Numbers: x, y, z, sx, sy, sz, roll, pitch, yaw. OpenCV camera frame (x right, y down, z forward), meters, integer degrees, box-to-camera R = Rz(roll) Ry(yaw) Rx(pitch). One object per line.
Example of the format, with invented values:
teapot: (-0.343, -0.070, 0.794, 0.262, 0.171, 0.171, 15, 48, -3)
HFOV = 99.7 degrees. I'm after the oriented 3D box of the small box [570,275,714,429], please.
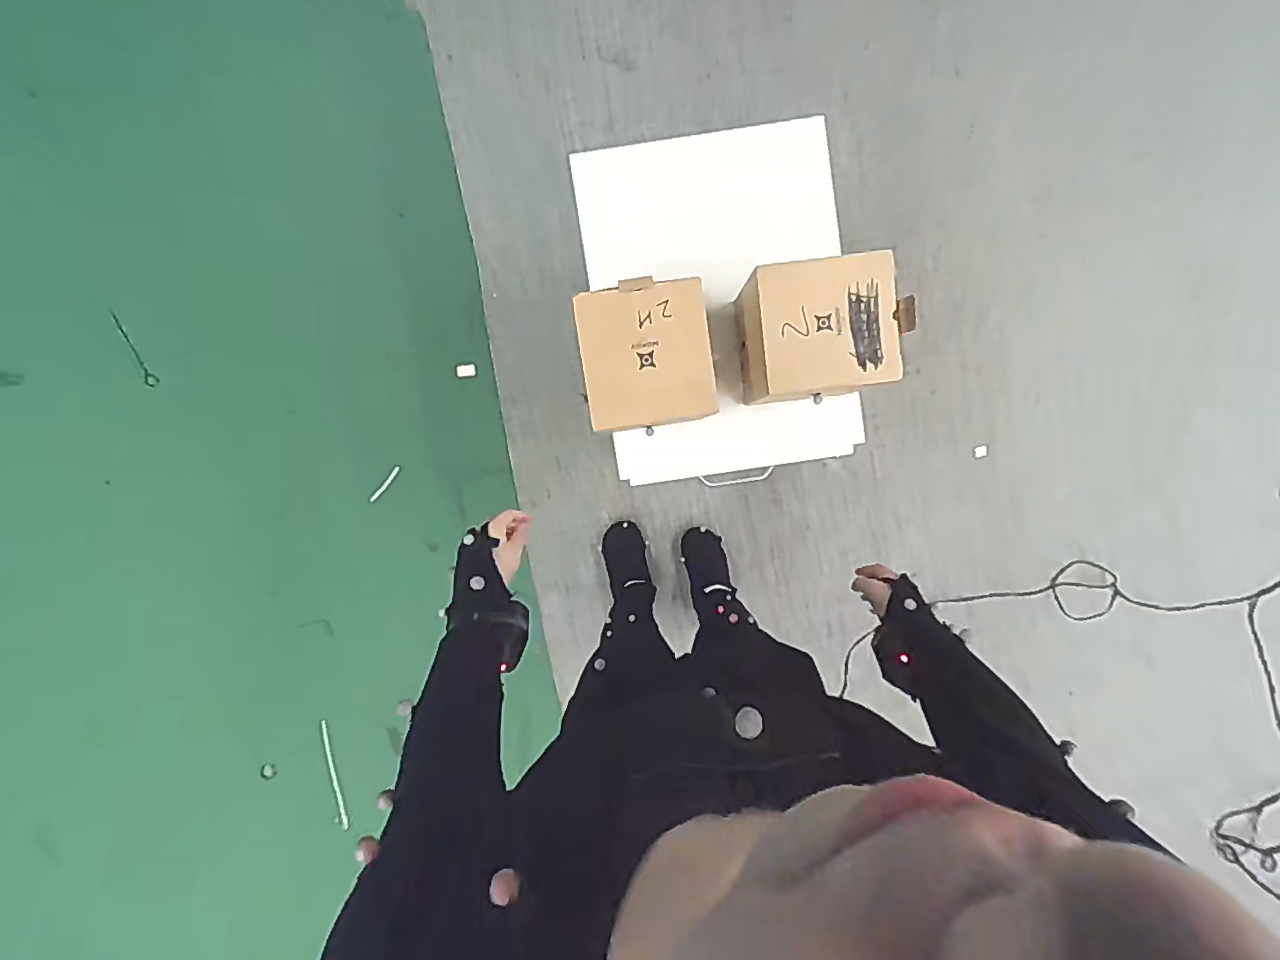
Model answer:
small box: (0.001, -0.167, 0.760, 0.168, 0.176, 0.179, -8, 94, -2)
